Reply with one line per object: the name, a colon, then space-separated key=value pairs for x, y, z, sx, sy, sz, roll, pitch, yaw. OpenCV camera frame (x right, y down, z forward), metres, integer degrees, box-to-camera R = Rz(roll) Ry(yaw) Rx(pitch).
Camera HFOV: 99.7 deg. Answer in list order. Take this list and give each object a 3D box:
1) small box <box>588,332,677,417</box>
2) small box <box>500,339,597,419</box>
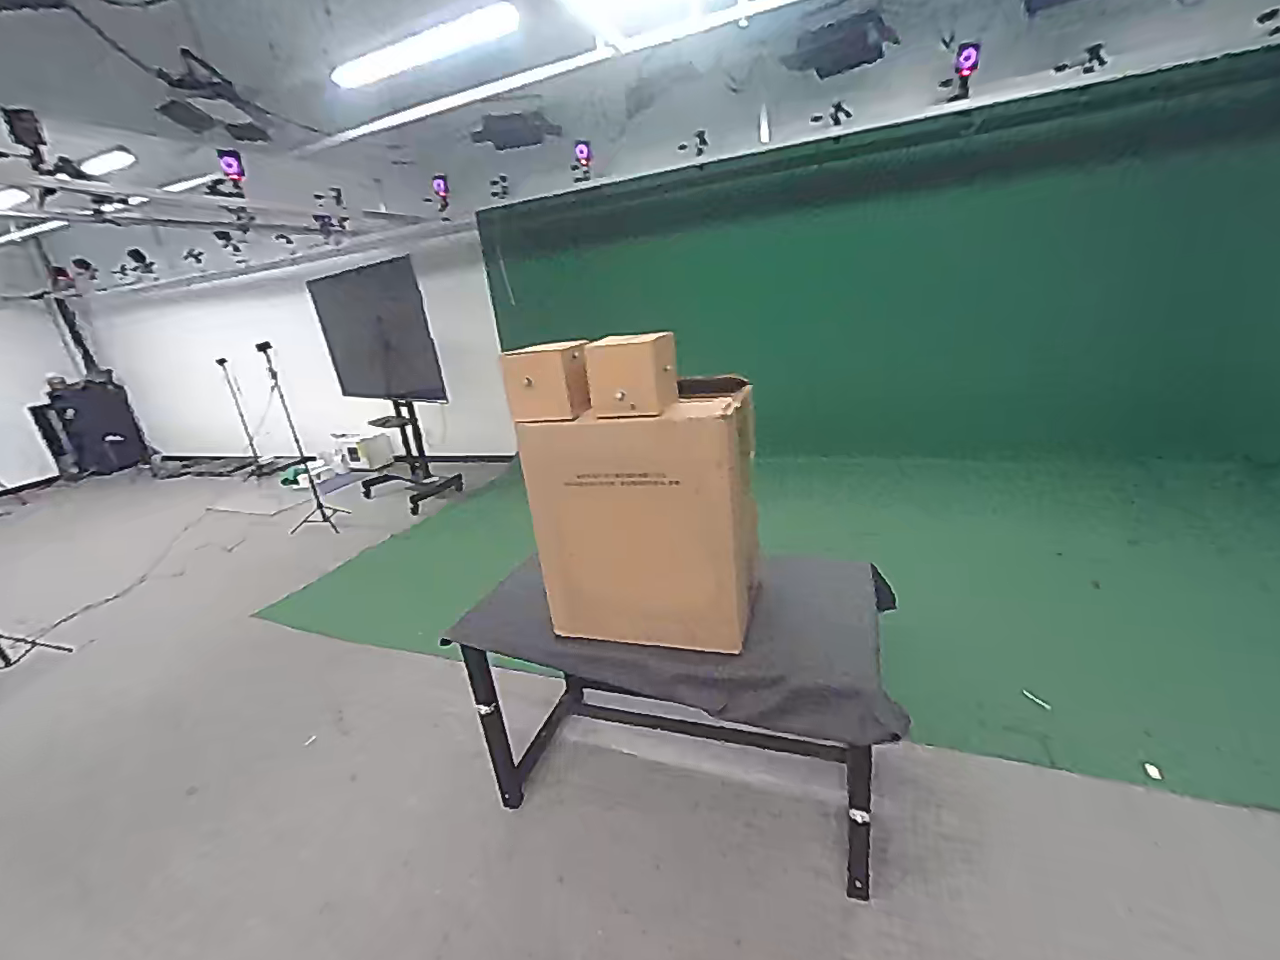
small box: x=-0.010 y=-0.255 z=1.297 sx=0.168 sy=0.176 sz=0.179 roll=2 pitch=22 yaw=20
small box: x=-0.221 y=-0.253 z=1.364 sx=0.179 sy=0.176 sz=0.168 roll=0 pitch=21 yaw=20
